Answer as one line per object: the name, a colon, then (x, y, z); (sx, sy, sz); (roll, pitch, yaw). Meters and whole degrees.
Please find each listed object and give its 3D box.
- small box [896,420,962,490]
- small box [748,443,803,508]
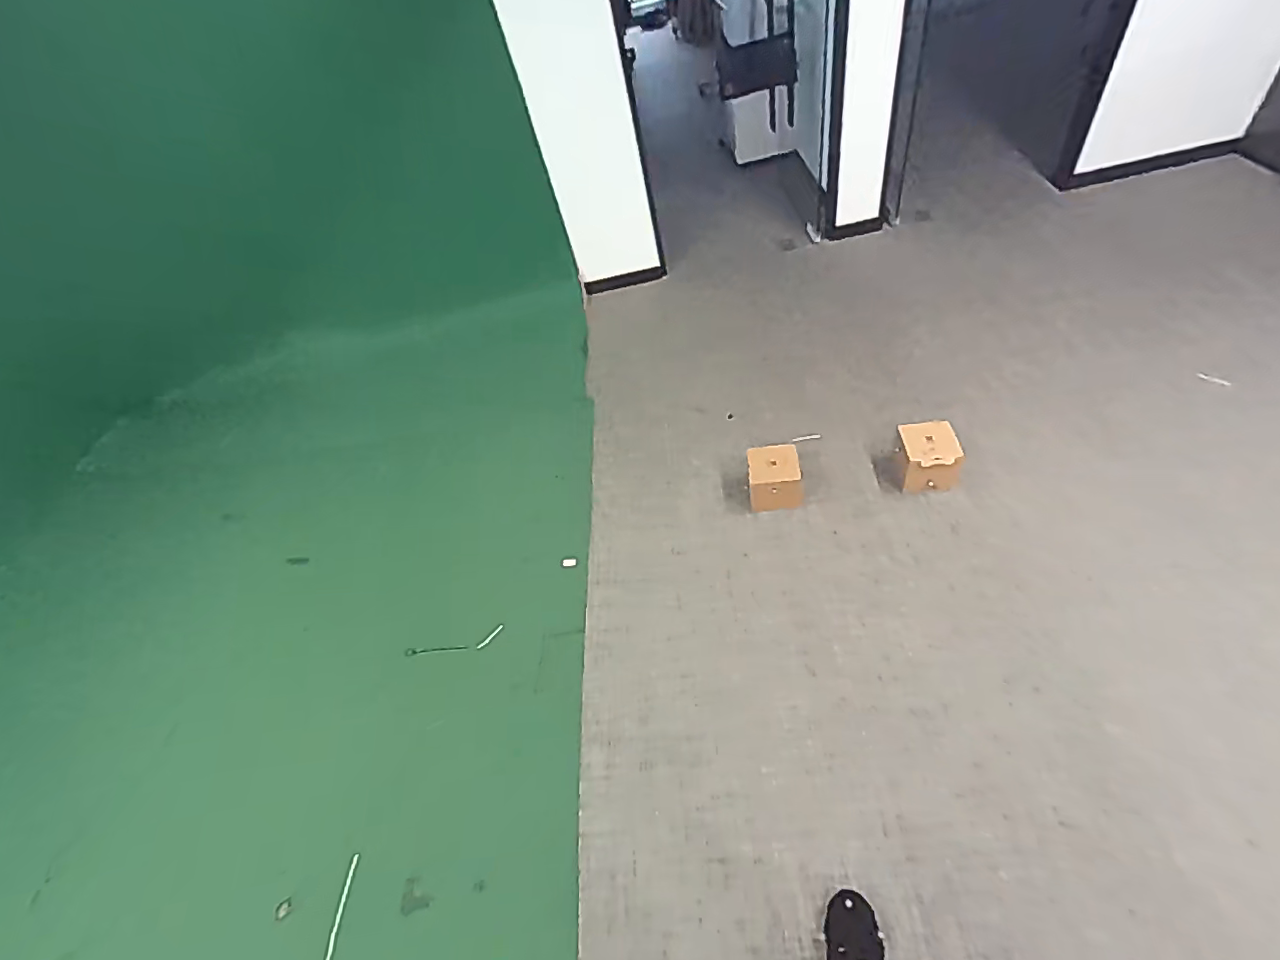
small box: (0.985, -0.084, 1.856); (0.168, 0.176, 0.179); (-1, 52, 17)
small box: (0.486, -0.011, 1.939); (0.179, 0.176, 0.168); (-5, 51, 11)
